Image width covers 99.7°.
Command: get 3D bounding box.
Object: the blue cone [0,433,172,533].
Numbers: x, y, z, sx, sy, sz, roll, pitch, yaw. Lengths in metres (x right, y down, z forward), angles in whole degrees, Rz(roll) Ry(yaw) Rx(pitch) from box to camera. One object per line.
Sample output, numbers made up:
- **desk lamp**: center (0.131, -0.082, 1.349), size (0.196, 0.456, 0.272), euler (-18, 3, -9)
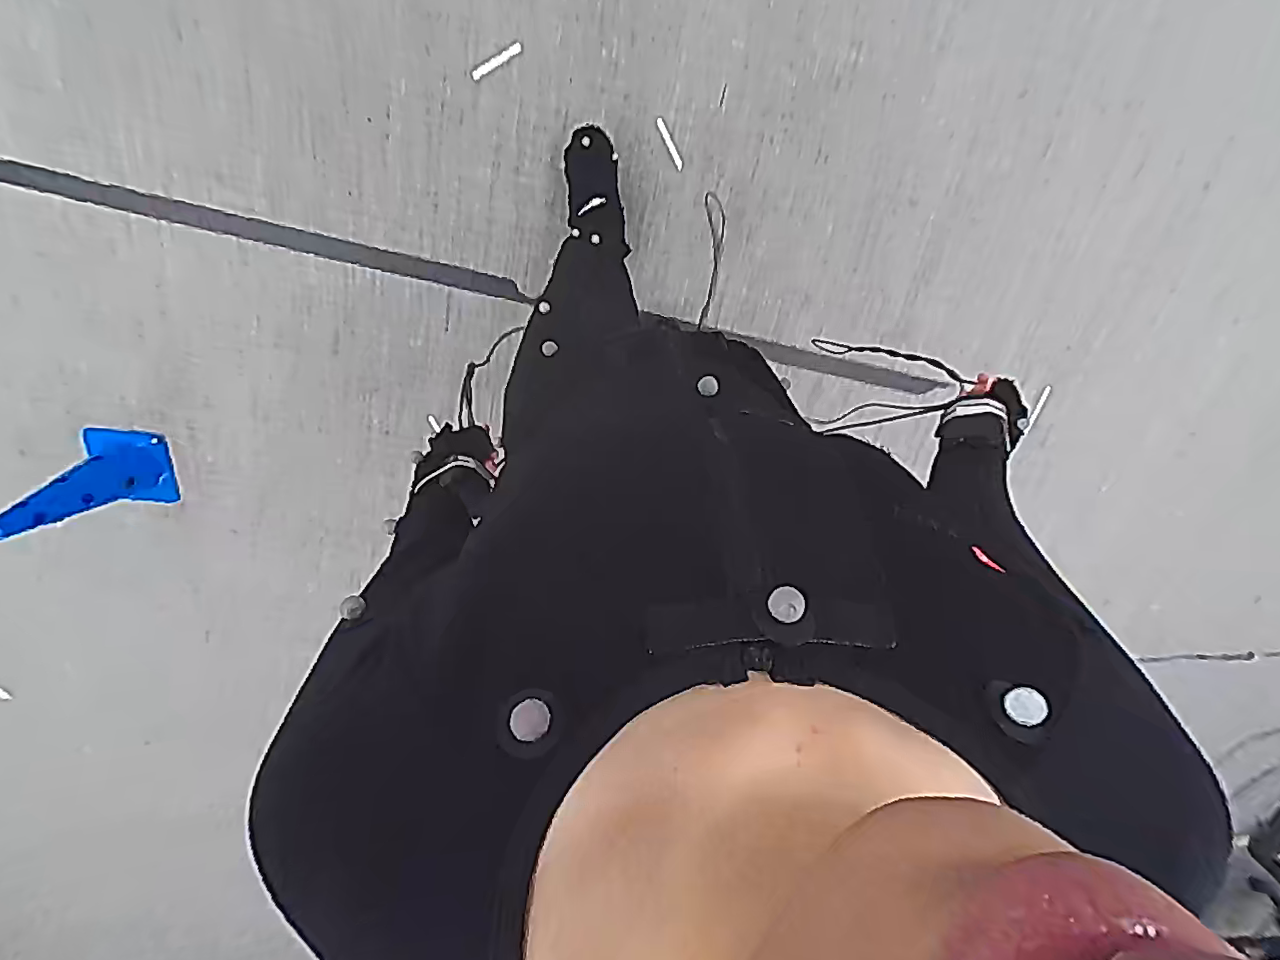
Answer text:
- **blue cone**: center (-1.324, 0.037, 1.260), size (0.193, 0.380, 0.192), euler (6, 112, -5)
